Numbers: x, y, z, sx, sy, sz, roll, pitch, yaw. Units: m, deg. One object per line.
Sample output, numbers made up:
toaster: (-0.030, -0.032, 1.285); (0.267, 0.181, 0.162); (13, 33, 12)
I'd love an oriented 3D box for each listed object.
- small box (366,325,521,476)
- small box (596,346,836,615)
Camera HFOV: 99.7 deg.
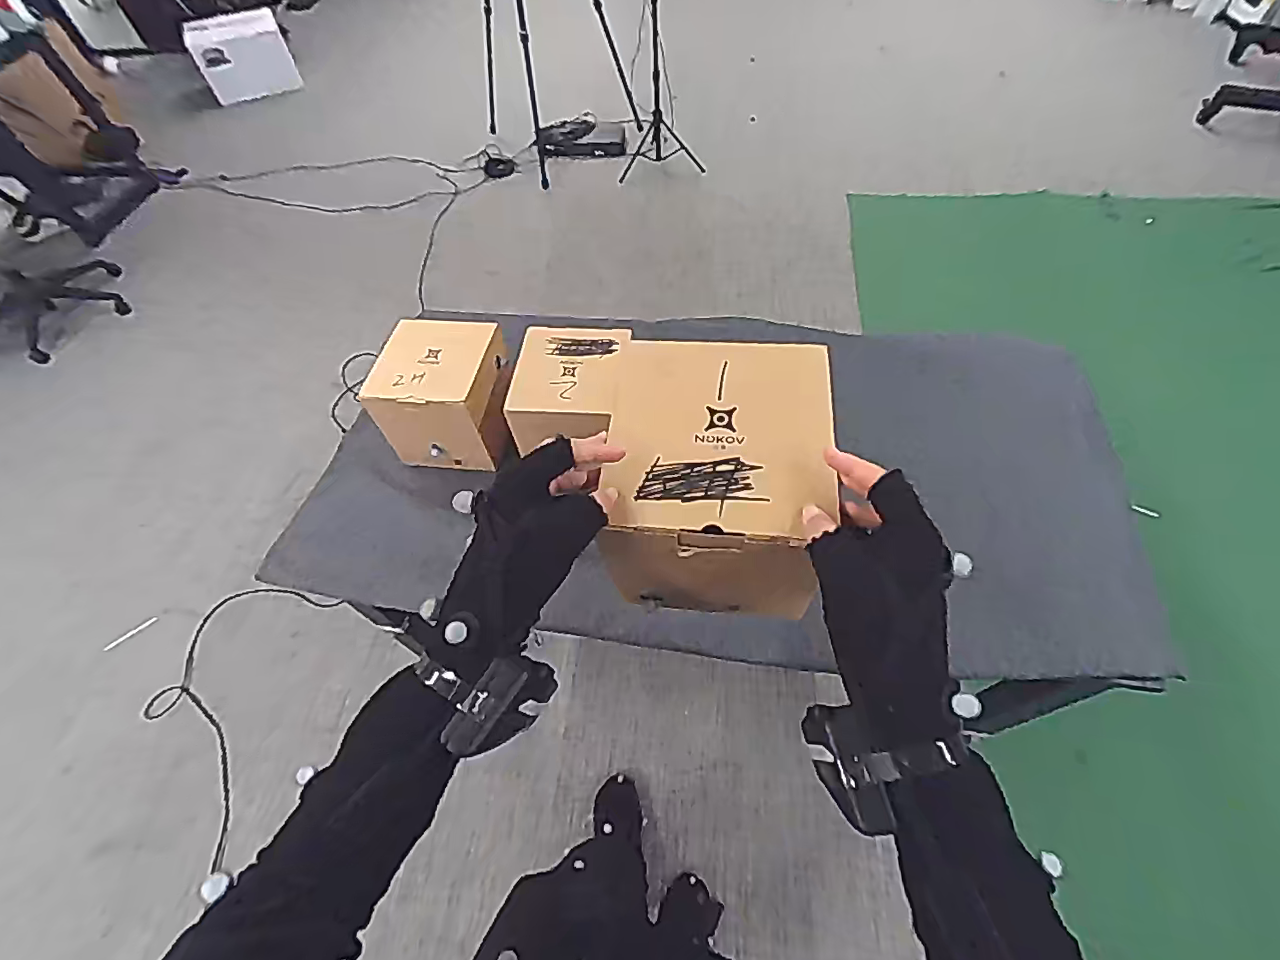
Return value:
small box: (-0.306, -0.129, 0.888); (0.168, 0.176, 0.179); (4, 55, 7)
small box: (0.068, 0.006, 0.473); (0.168, 0.176, 0.179); (4, 58, 8)
